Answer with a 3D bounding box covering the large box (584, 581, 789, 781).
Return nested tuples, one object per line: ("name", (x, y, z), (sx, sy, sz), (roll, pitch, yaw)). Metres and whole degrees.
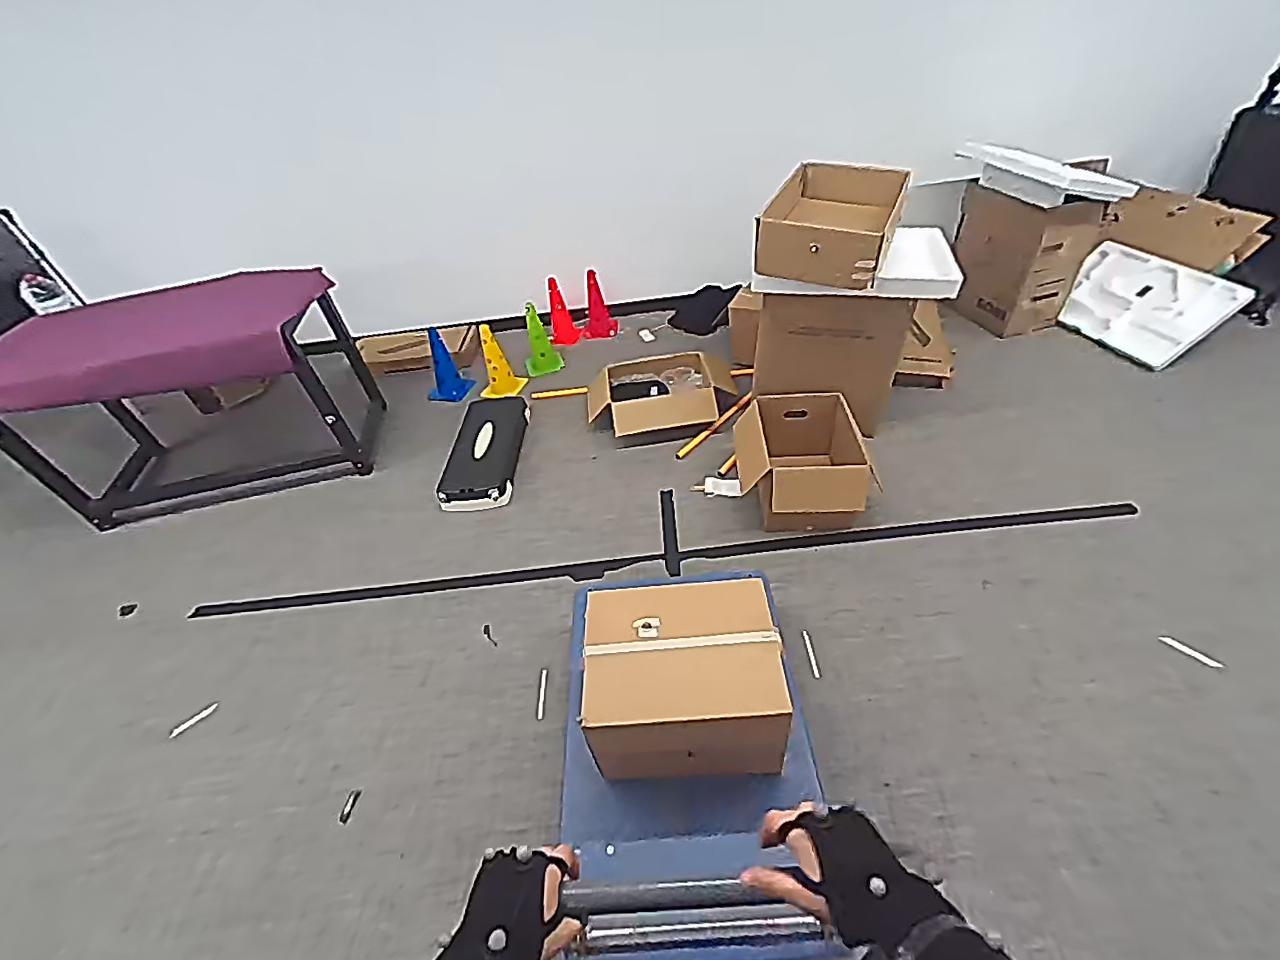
("large box", (0.101, 0.468, 1.250), (0.408, 0.320, 0.320), (-7, 42, 3))
